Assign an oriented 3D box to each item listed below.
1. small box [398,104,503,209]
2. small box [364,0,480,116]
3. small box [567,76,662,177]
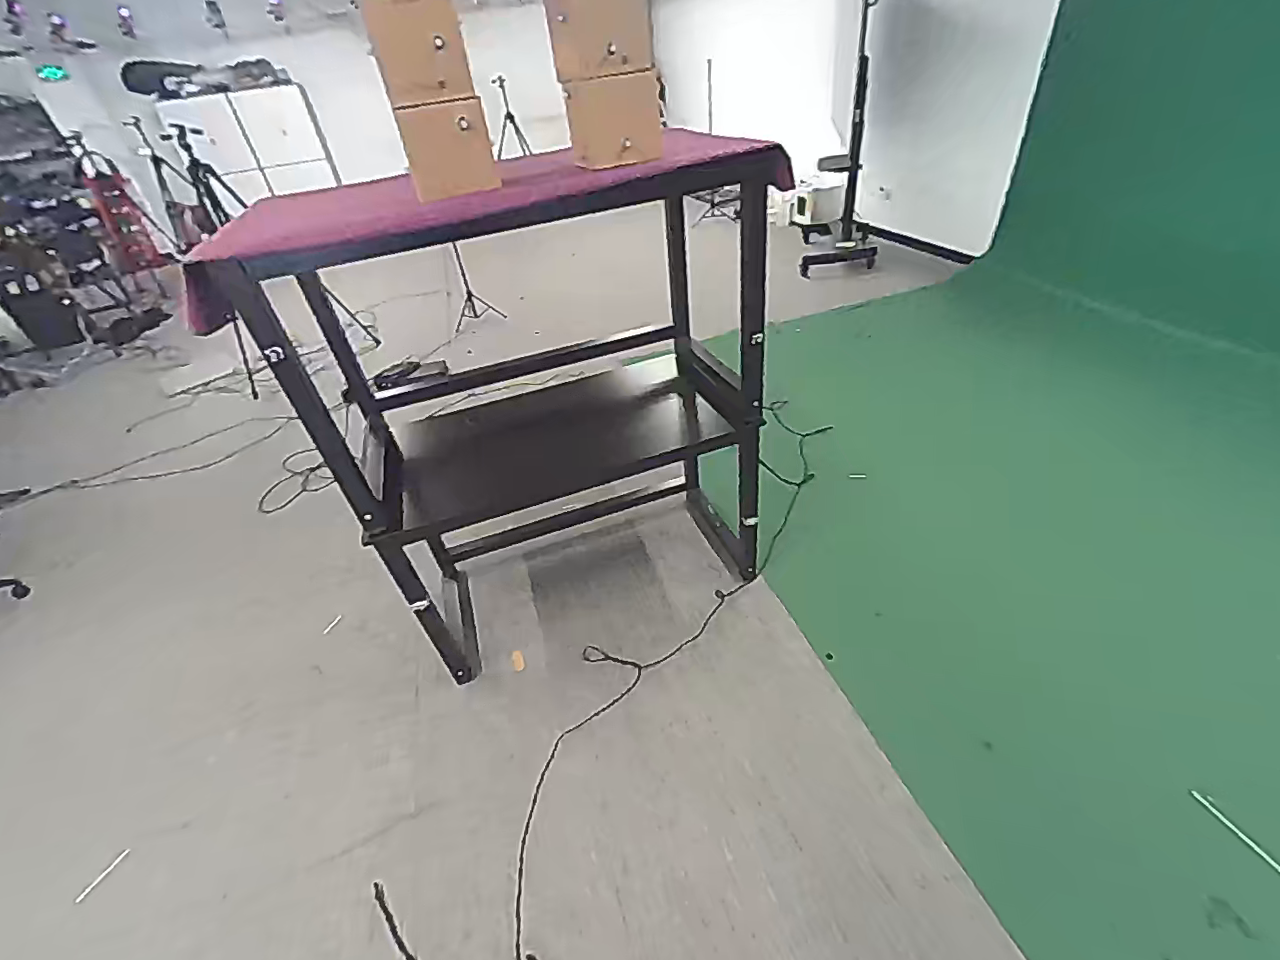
[{"bbox_3d":[-0.405,-0.705,1.175,0.179,0.176,0.168,-17,38,-10],"label":"small box"},{"bbox_3d":[-0.427,-0.835,1.079,0.168,0.176,0.179,-16,37,-11],"label":"small box"},{"bbox_3d":[-0.054,-0.813,1.245,0.179,0.176,0.168,-17,37,-11],"label":"small box"}]
